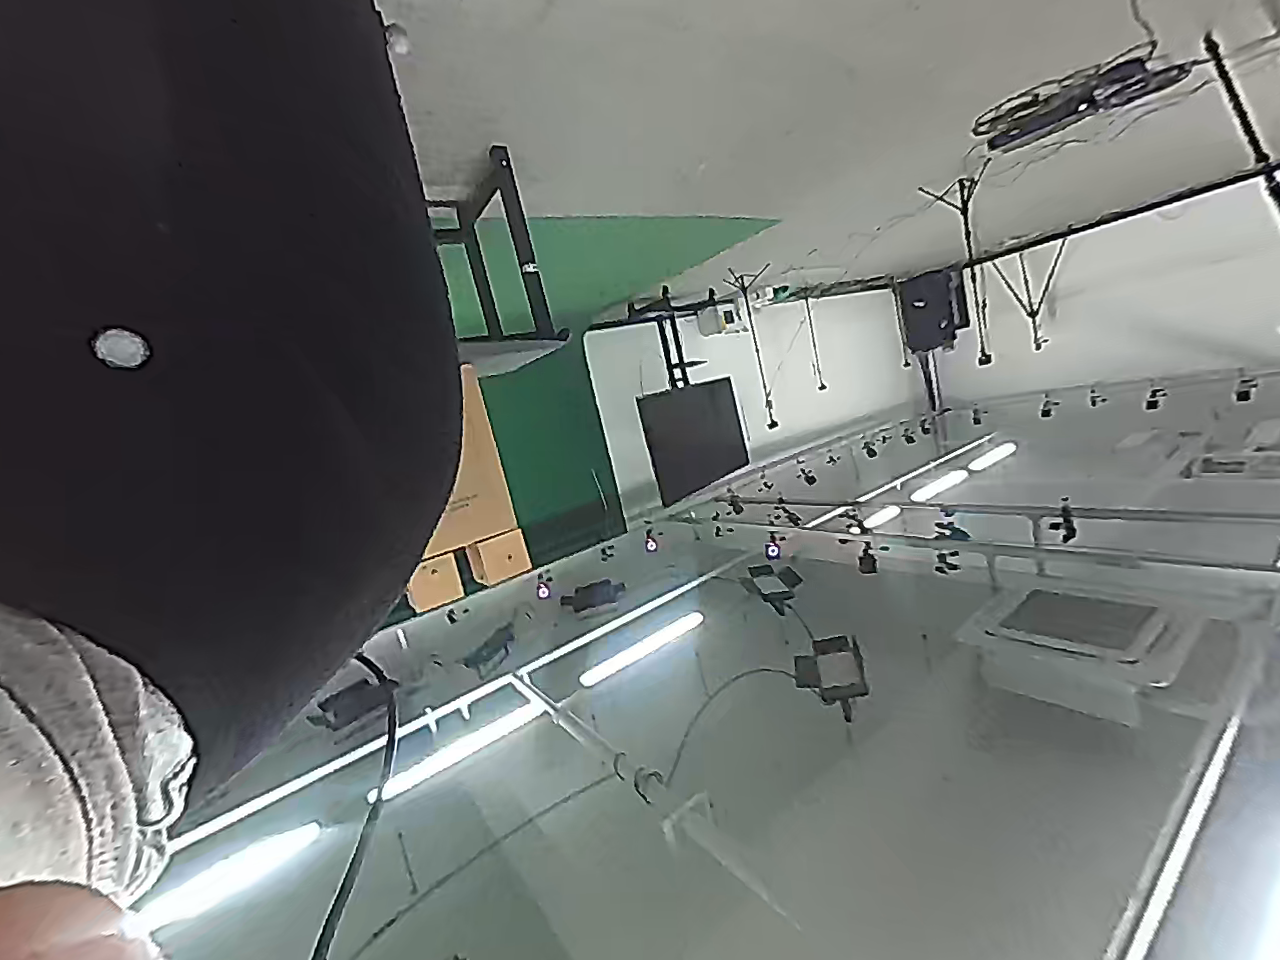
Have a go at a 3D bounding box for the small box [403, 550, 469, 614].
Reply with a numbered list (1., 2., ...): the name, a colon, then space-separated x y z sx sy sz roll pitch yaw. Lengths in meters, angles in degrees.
1. small box: -0.740 0.358 1.946 0.168 0.176 0.179 -19 -171 -30

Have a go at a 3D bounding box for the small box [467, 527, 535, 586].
1. small box: -0.534 0.283 2.065 0.179 0.176 0.168 -22 -169 -34
